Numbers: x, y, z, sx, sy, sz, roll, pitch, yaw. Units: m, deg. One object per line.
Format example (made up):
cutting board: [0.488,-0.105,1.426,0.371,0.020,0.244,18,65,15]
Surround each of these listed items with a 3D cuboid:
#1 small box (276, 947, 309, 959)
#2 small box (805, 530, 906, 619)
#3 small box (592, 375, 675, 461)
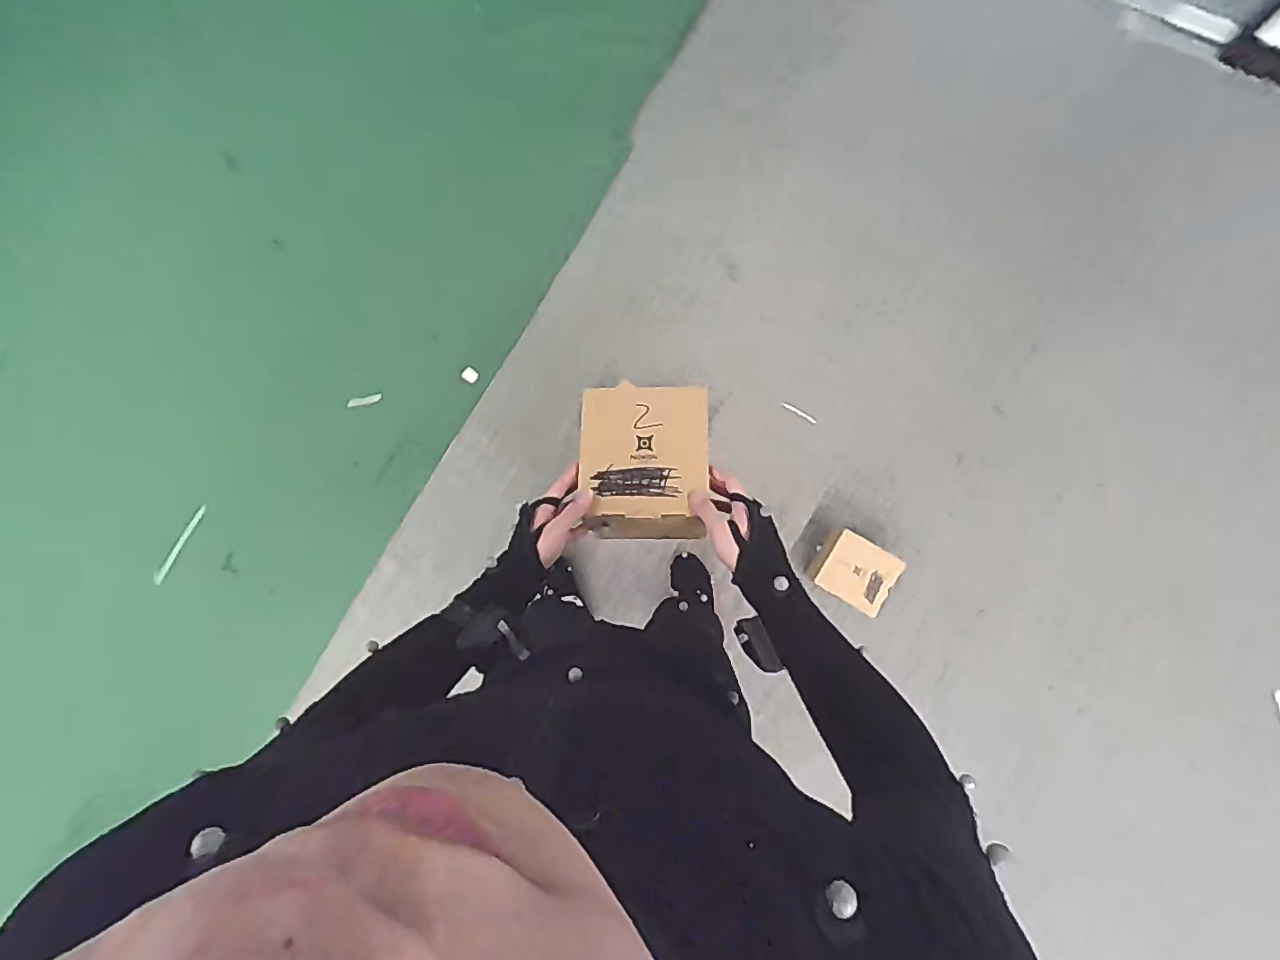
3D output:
small box: [-1.071,1.551,1.596,0.179,0.176,0.168,34,91,9]
small box: [0.568,0.243,1.449,0.179,0.176,0.168,32,91,9]
small box: [-0.010,-0.170,1.562,0.168,0.176,0.179,31,91,9]
